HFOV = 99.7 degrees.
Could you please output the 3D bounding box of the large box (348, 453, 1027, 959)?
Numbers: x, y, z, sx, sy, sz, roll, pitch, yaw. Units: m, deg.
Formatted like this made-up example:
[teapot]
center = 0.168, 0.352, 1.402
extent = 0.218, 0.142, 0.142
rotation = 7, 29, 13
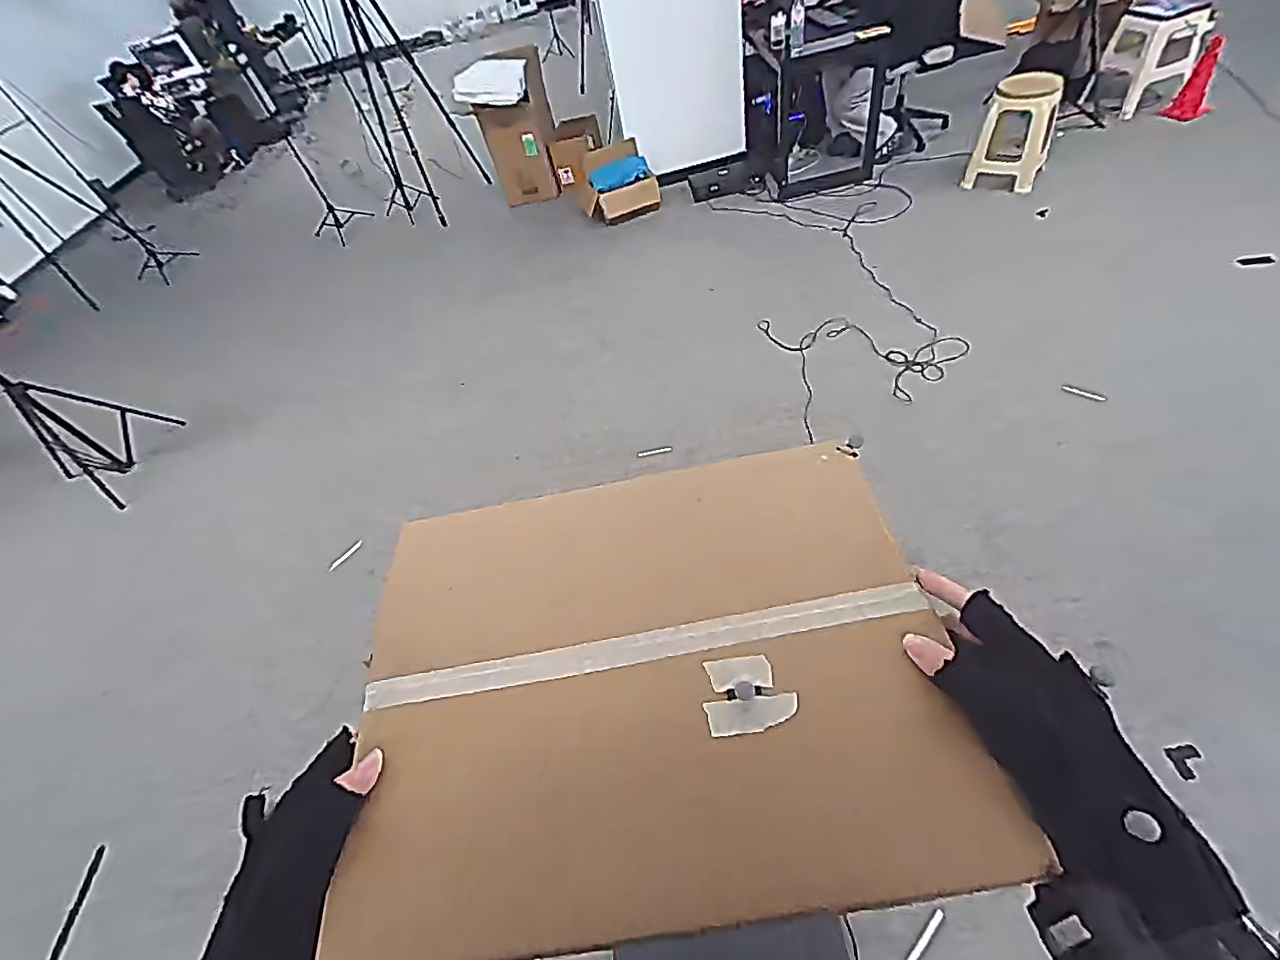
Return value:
[large box]
center = 0.026, 0.221, 0.514
extent = 0.408, 0.320, 0.320
rotation = -11, 51, 3
